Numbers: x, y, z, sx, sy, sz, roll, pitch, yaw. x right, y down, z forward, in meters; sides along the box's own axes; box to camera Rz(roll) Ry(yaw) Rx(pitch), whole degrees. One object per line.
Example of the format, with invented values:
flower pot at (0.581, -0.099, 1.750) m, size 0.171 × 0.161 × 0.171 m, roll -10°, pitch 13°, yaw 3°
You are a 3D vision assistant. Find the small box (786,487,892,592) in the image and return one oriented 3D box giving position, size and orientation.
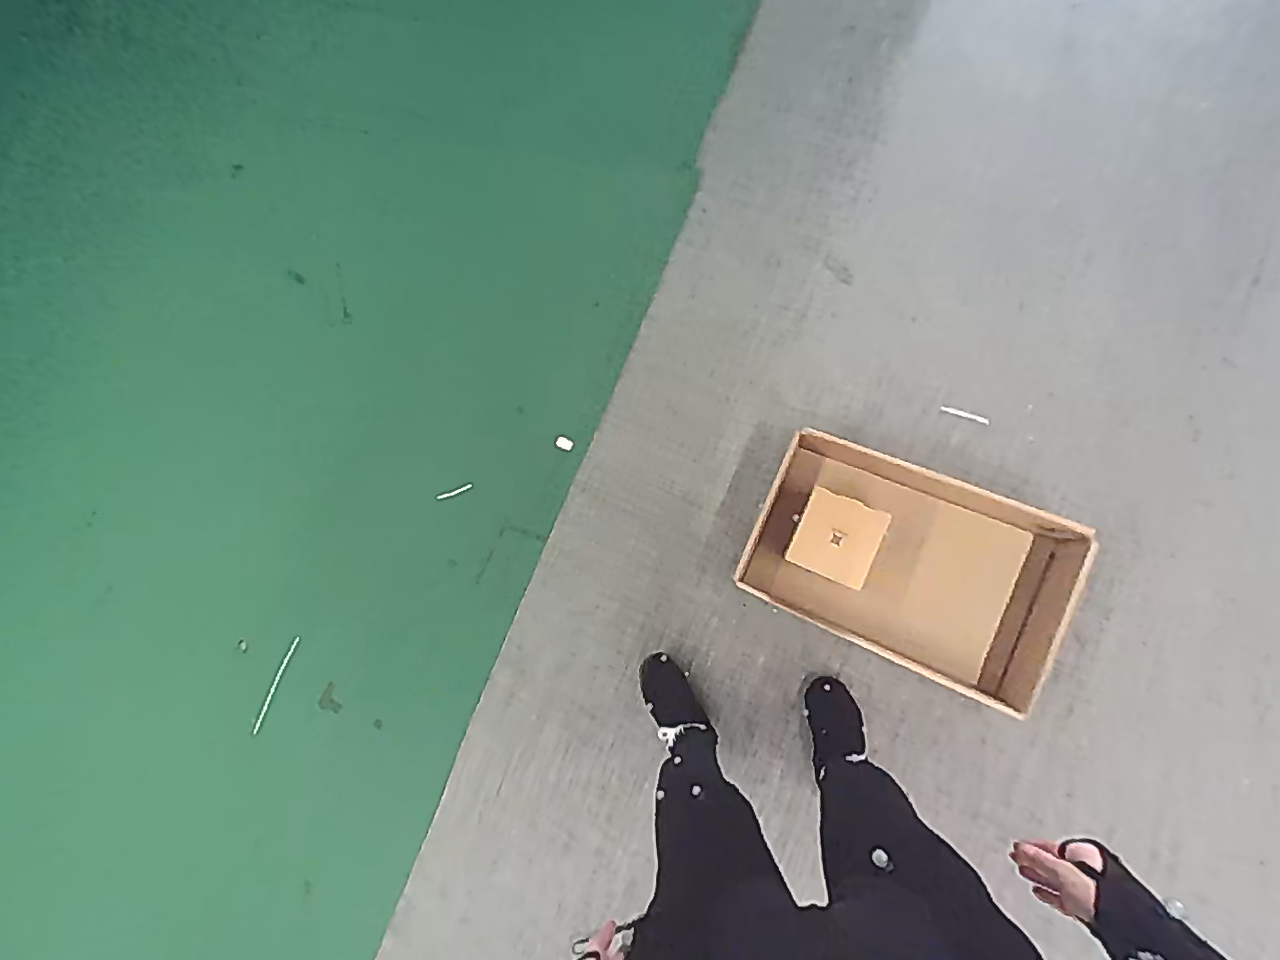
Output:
small box at (0.441, 0.137, 1.220) m, size 0.168 × 0.176 × 0.179 m, roll 23°, pitch 86°, yaw 17°
